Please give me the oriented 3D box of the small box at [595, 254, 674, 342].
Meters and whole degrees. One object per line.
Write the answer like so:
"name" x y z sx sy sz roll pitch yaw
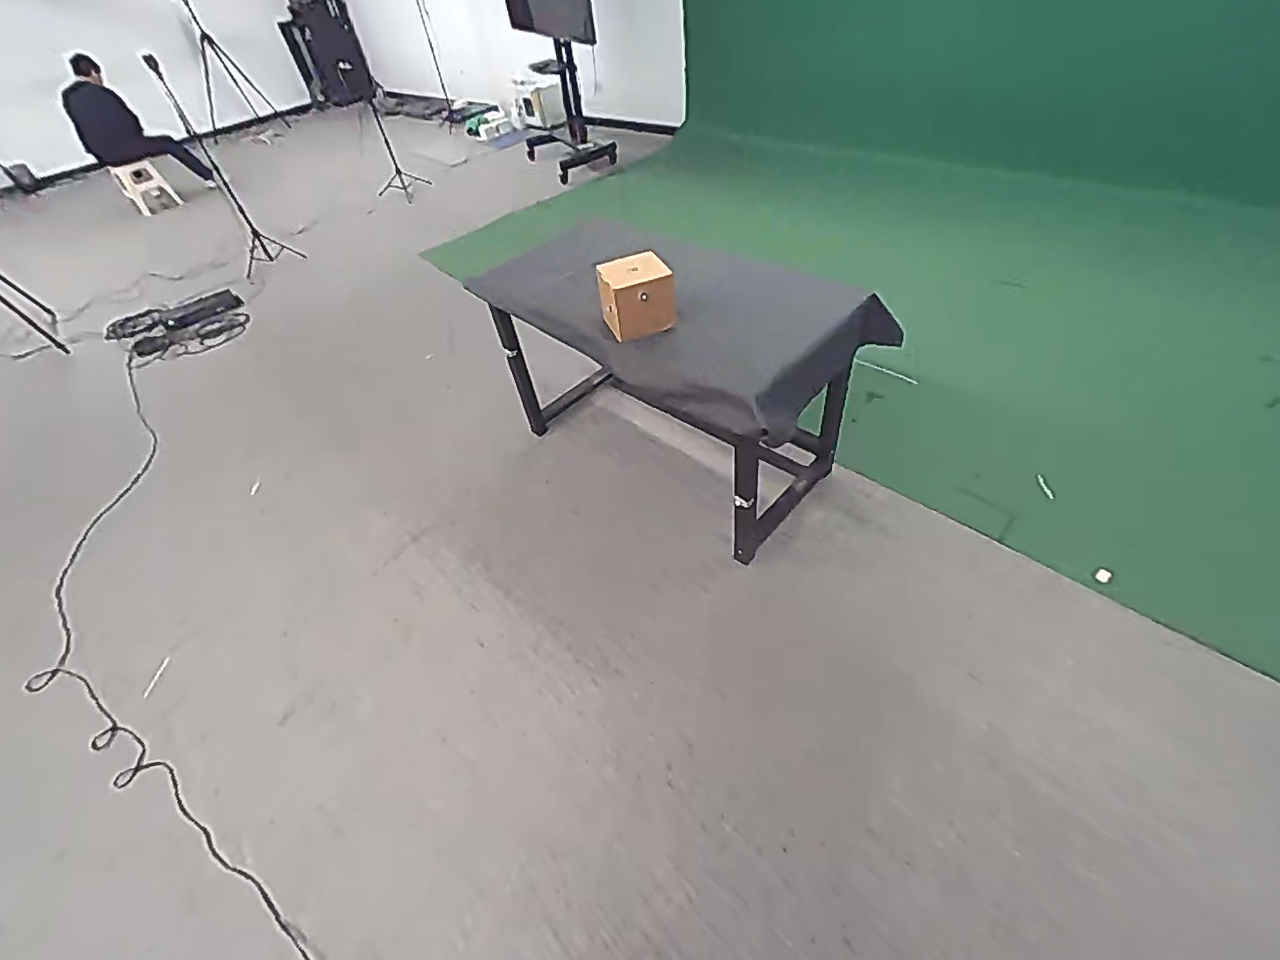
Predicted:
"small box" -0.013 -0.520 1.555 0.179 0.176 0.168 -18 48 -11
